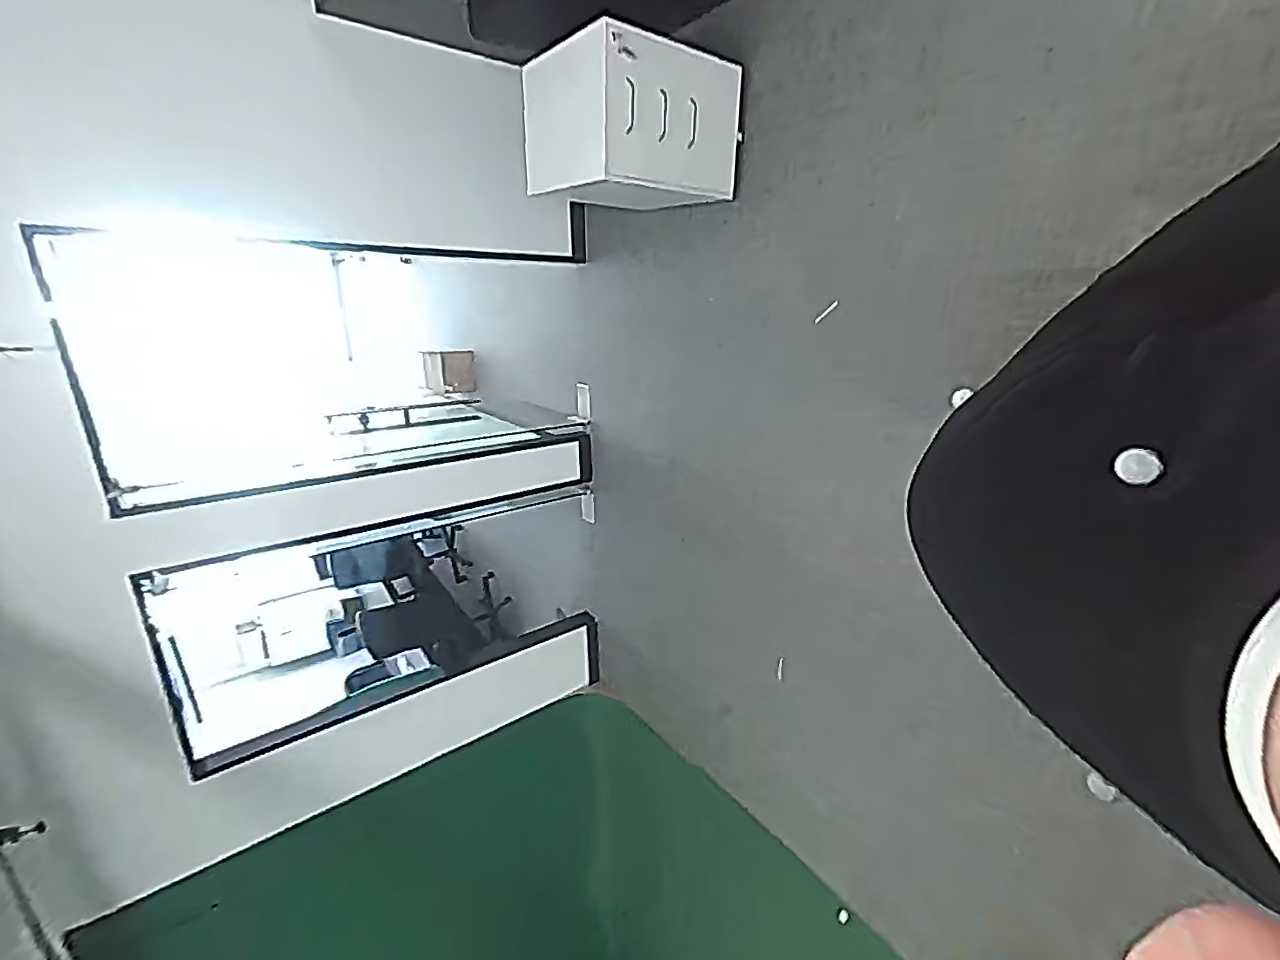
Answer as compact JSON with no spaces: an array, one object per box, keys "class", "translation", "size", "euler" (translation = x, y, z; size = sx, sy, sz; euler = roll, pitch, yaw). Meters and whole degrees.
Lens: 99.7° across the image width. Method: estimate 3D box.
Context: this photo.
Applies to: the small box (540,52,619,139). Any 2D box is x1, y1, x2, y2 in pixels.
[{"class":"small box","translation":[-0.201,-1.294,1.822],"size":[0.179,0.176,0.168],"euler":[-37,21,36]}]
